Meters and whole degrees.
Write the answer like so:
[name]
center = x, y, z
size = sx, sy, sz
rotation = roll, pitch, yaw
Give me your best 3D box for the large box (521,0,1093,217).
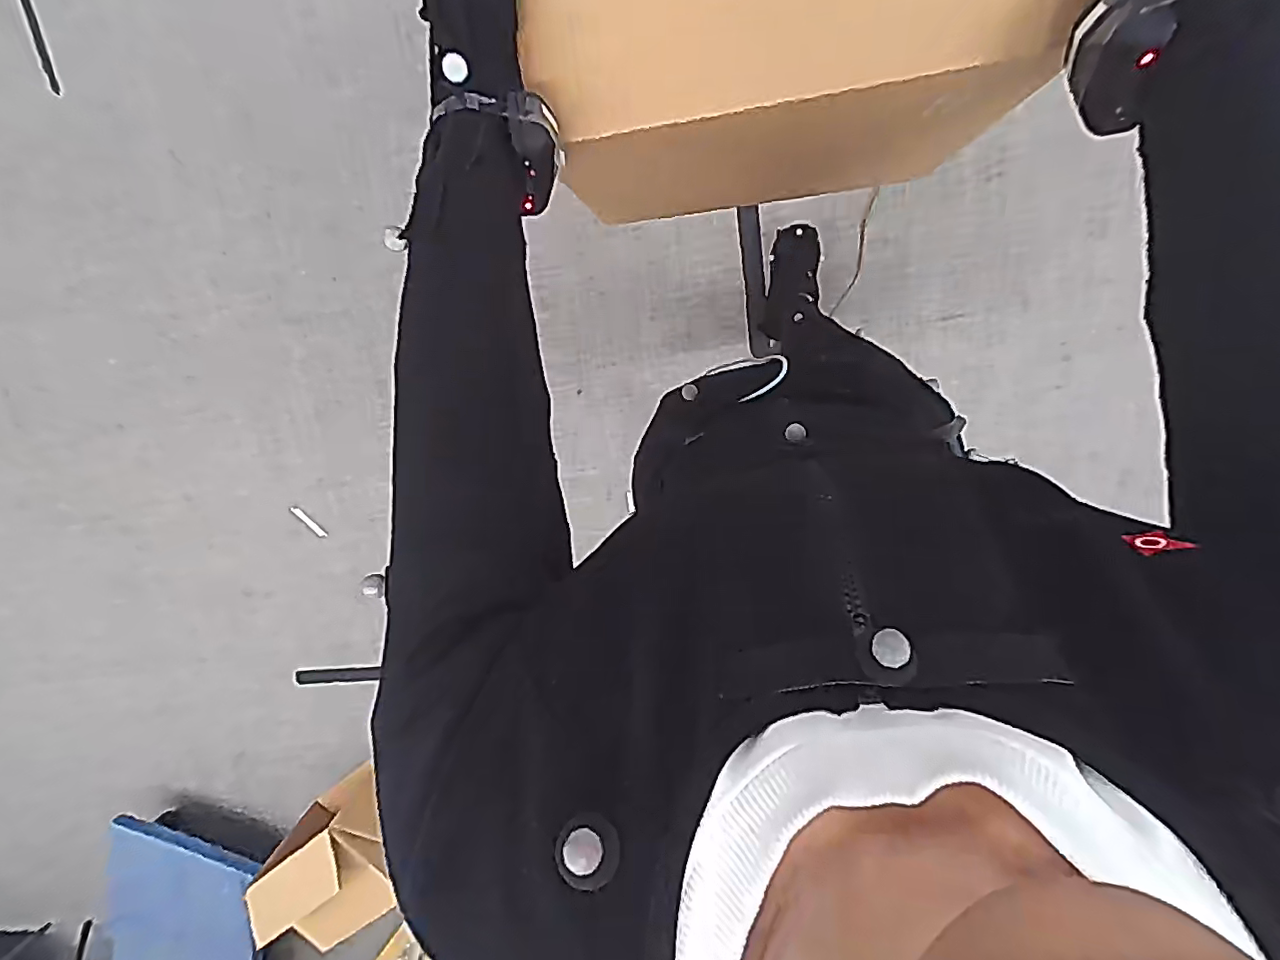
[large box]
center = 0.113, -0.476, 0.510
size = 0.408, 0.320, 0.320
rotation = -5, 104, 9
